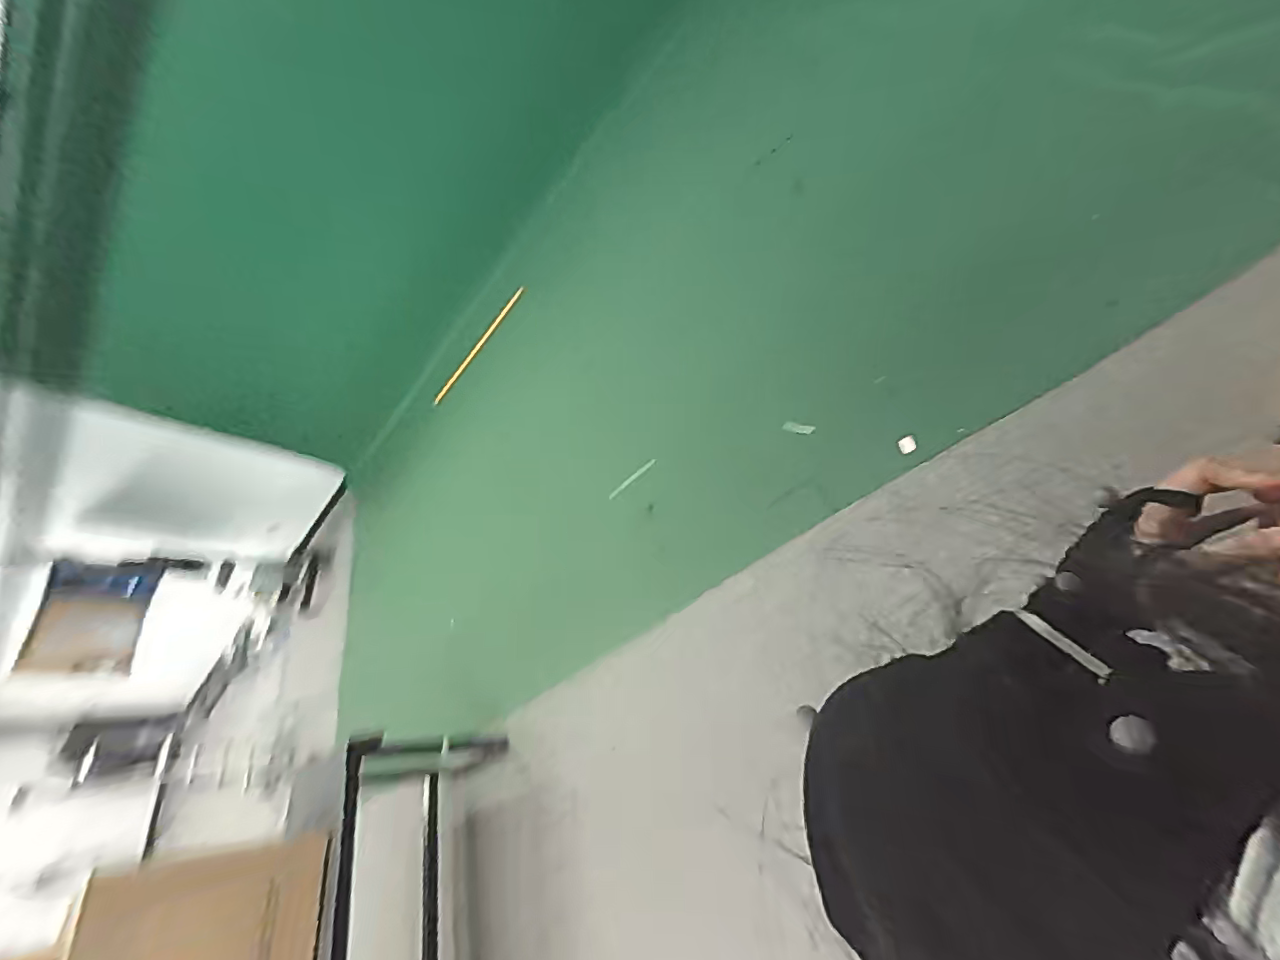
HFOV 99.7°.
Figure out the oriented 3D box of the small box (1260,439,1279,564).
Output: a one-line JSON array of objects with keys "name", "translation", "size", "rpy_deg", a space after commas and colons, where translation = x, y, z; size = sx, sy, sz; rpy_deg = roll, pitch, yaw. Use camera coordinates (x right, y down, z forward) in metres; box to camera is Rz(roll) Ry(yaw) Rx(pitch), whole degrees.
[{"name": "small box", "translation": [0.491, -0.012, 0.300], "size": [0.168, 0.176, 0.179], "rpy_deg": [10, 97, 42]}]
